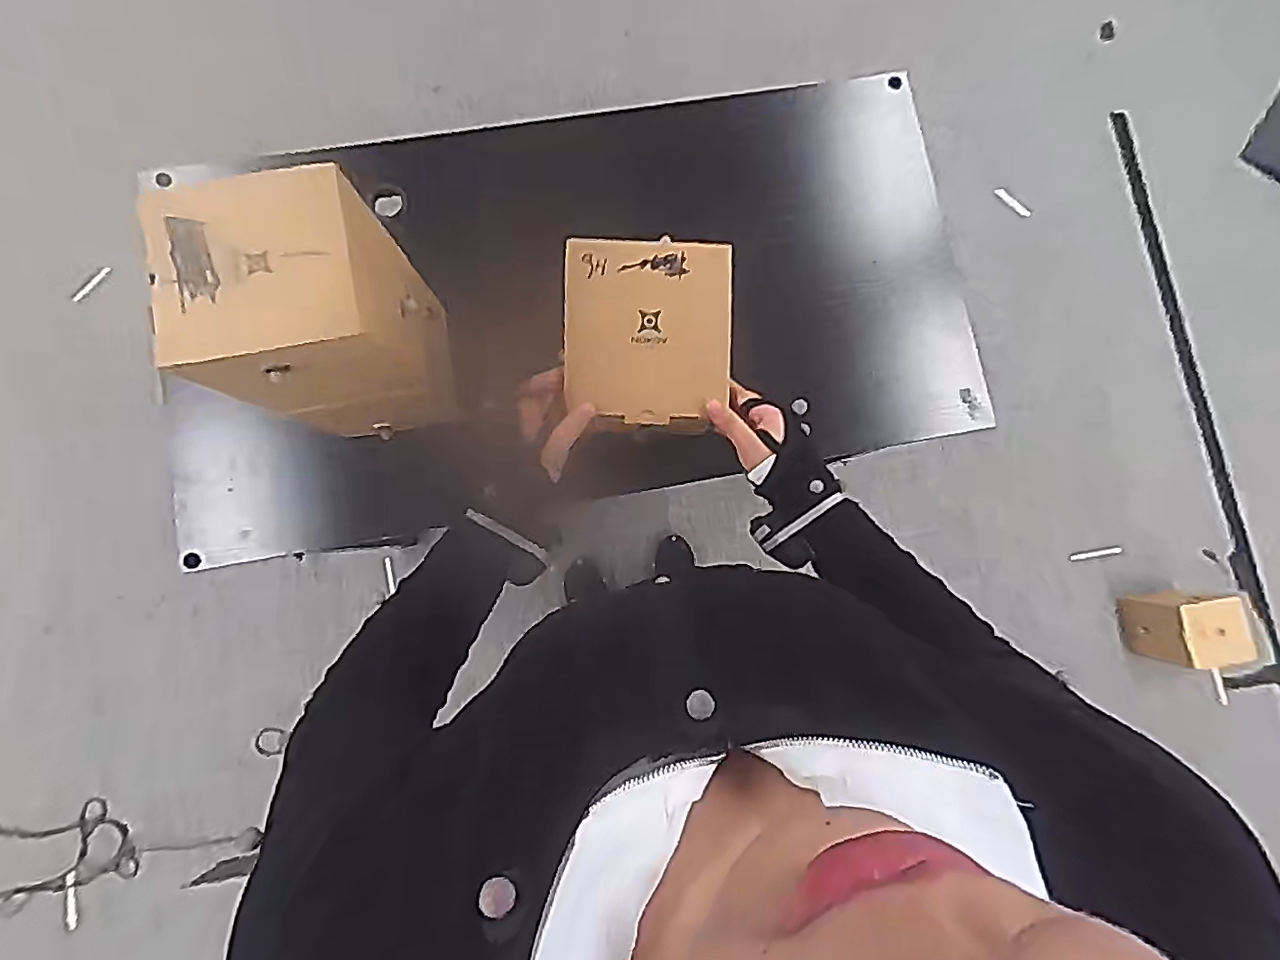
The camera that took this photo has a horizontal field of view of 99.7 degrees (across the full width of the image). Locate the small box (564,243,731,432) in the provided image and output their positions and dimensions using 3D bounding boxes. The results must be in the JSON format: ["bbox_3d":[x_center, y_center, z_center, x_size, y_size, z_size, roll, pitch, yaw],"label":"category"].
[{"bbox_3d":[0.004,-0.146,0.615,0.168,0.176,0.179,1,91,-4],"label":"small box"}]

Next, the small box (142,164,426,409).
[{"bbox_3d":[-0.345,-0.181,0.554,0.179,0.176,0.168,-11,84,-4],"label":"small box"}]

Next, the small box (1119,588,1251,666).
[{"bbox_3d":[1.478,0.393,1.475,0.179,0.176,0.168,-9,84,-3],"label":"small box"}]

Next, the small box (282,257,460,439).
[{"bbox_3d":[-0.352,-0.165,0.718,0.168,0.176,0.179,-10,85,-3],"label":"small box"}]
